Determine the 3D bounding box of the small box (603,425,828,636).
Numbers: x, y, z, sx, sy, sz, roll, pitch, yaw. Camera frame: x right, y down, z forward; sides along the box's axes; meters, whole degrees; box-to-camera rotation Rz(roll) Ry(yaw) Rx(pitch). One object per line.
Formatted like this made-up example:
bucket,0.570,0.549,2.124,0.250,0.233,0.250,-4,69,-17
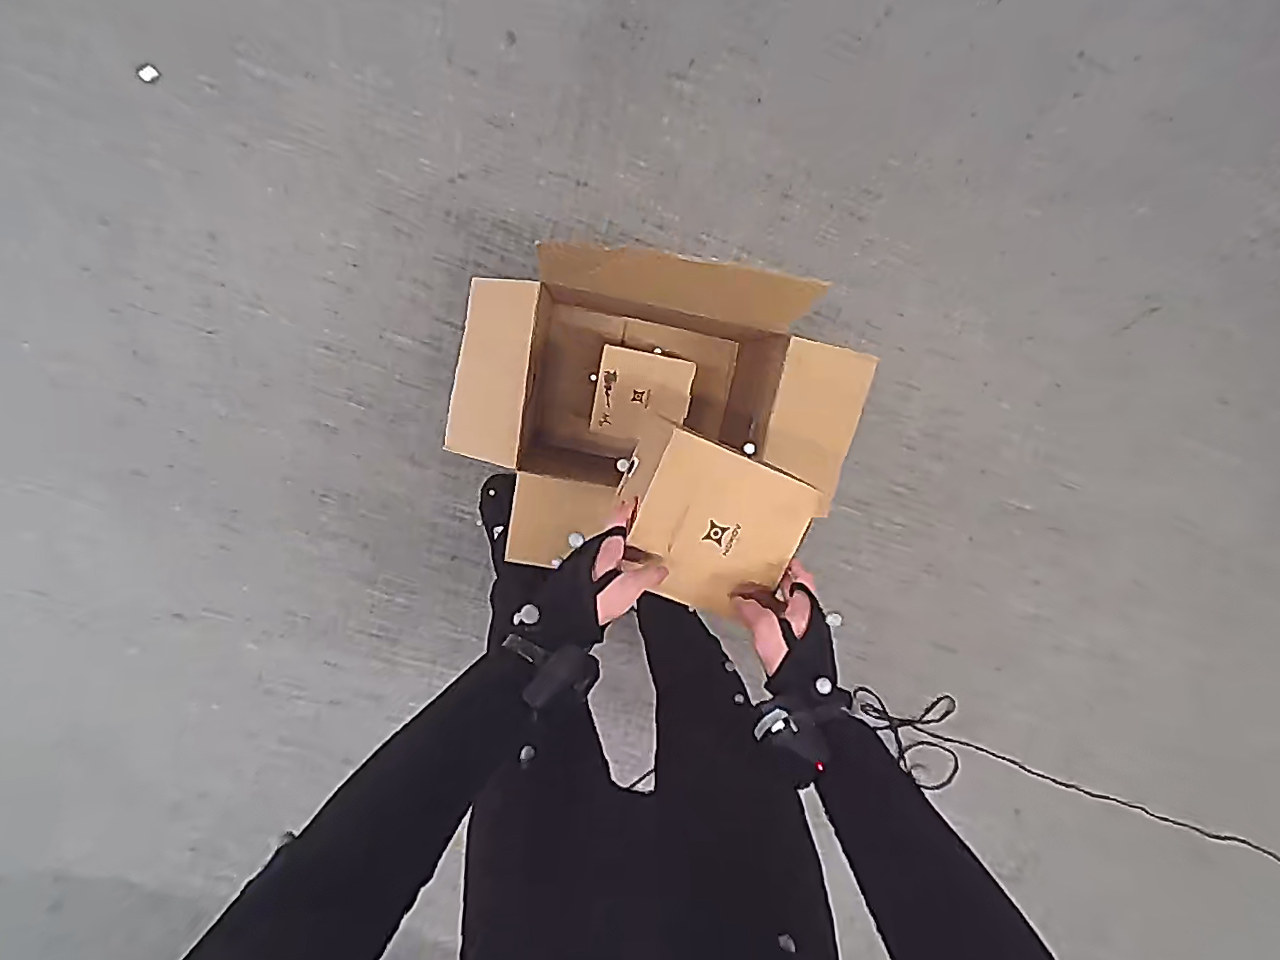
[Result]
small box,0.071,0.045,0.621,0.179,0.176,0.168,25,95,-12
